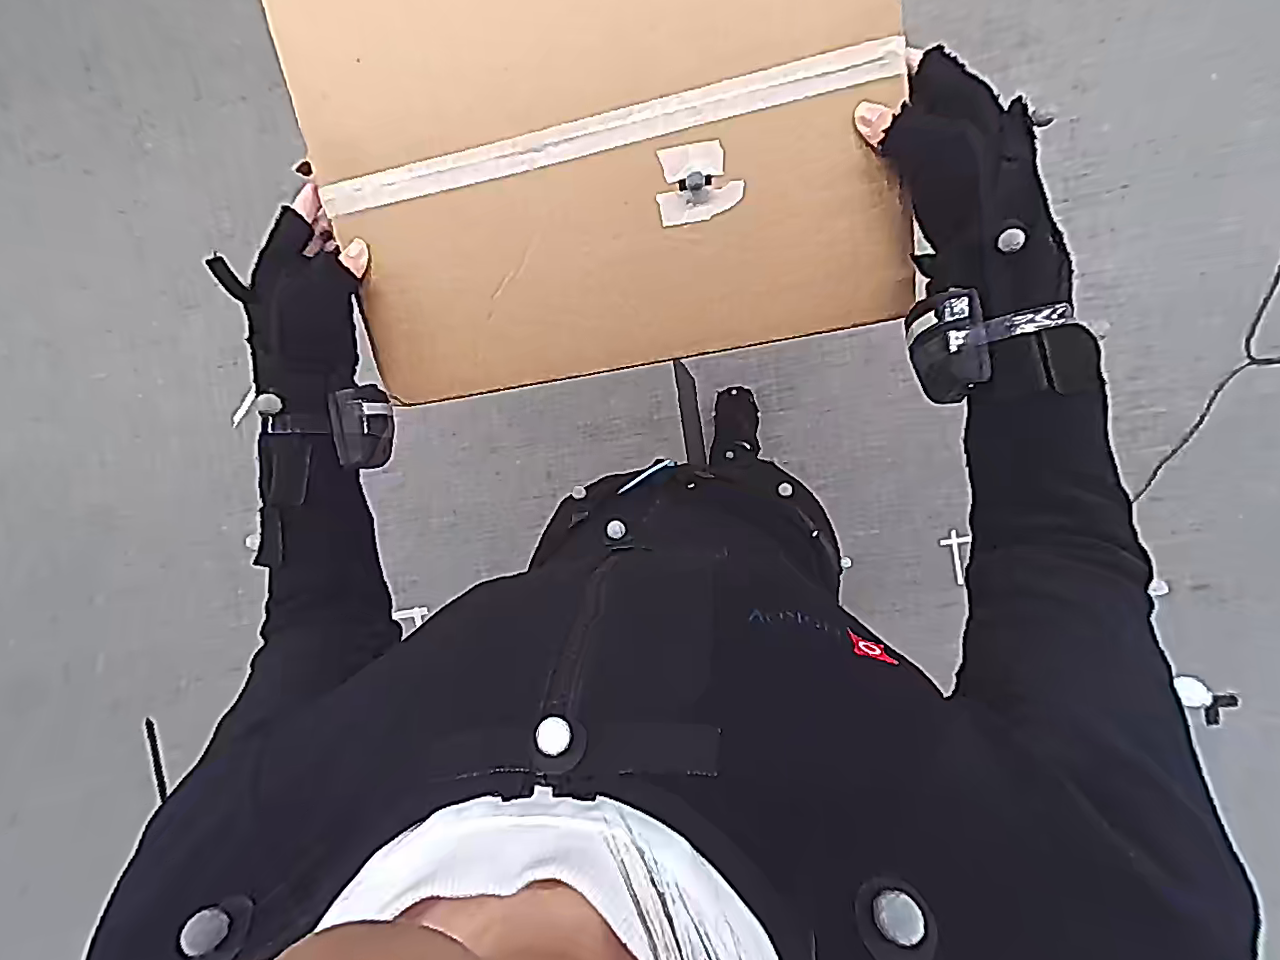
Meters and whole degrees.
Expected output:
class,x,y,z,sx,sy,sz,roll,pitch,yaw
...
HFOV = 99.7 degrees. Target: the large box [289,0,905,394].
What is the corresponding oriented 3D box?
class,x,y,z,sx,sy,sz,roll,pitch,yaw
large box,-0.014,-0.288,0.524,0.408,0.320,0.320,-9,107,9
